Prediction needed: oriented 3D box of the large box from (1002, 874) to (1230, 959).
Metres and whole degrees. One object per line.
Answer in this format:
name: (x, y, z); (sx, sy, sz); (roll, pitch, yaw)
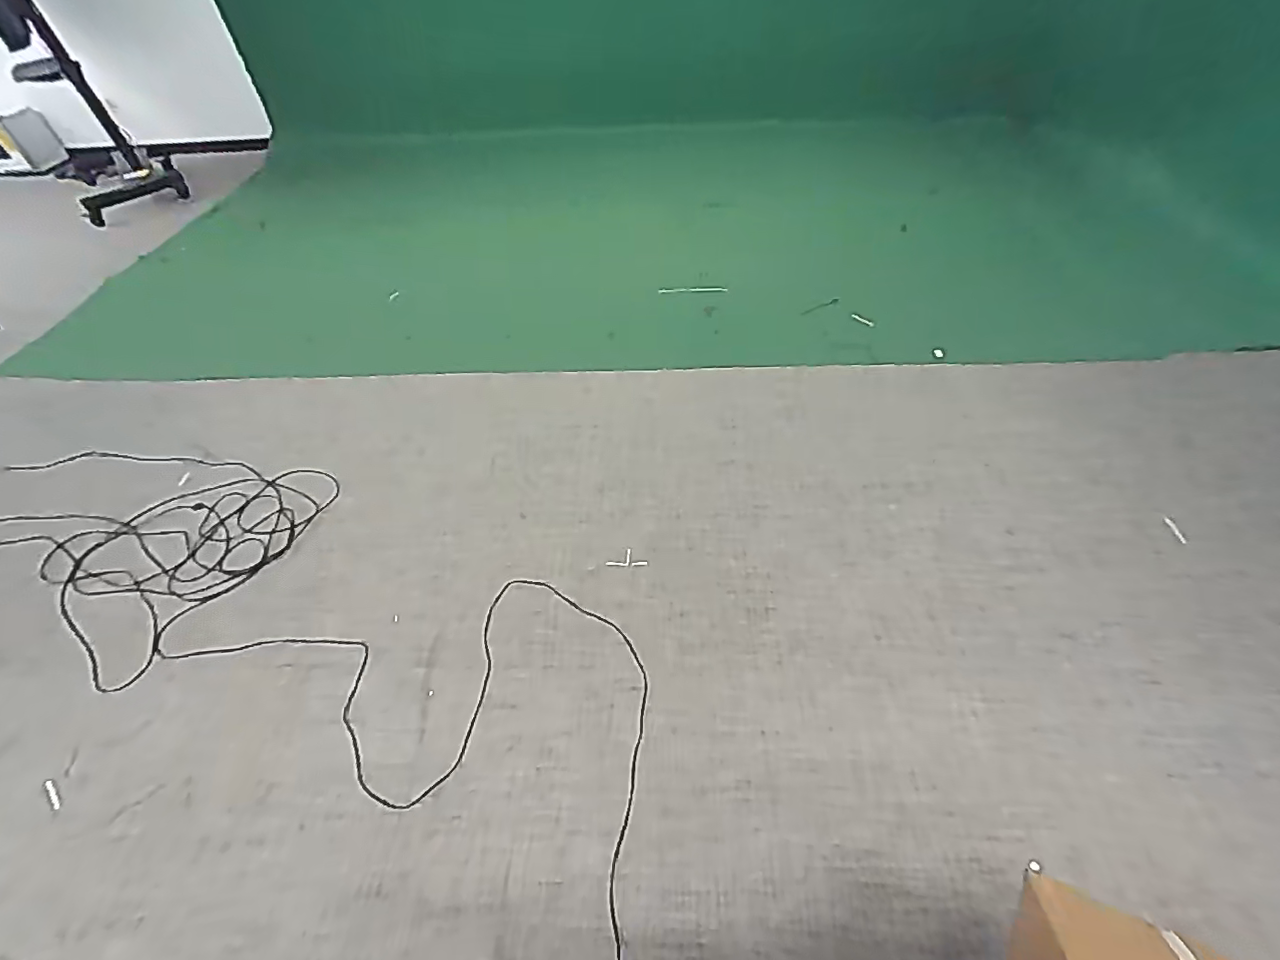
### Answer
large box: (0.582, 0.733, 0.547); (0.320, 0.408, 0.320); (16, 90, 23)
